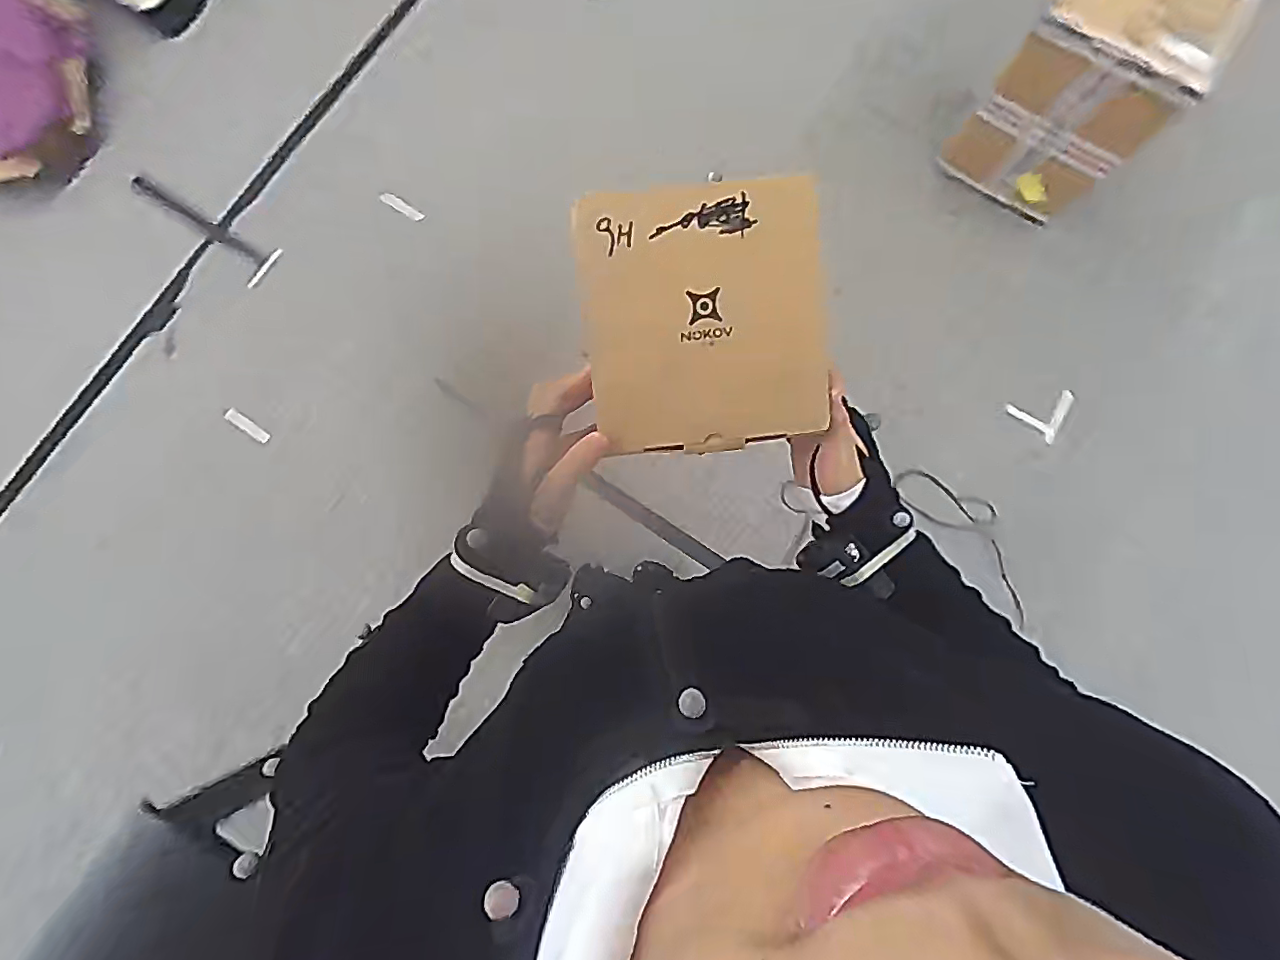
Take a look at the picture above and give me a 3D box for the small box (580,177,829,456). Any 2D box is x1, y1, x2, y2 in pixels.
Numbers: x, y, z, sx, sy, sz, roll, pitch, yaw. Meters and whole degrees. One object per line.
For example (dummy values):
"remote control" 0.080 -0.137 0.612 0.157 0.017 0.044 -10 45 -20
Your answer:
"small box" 0.049 -0.124 0.451 0.168 0.176 0.179 -5 100 1
